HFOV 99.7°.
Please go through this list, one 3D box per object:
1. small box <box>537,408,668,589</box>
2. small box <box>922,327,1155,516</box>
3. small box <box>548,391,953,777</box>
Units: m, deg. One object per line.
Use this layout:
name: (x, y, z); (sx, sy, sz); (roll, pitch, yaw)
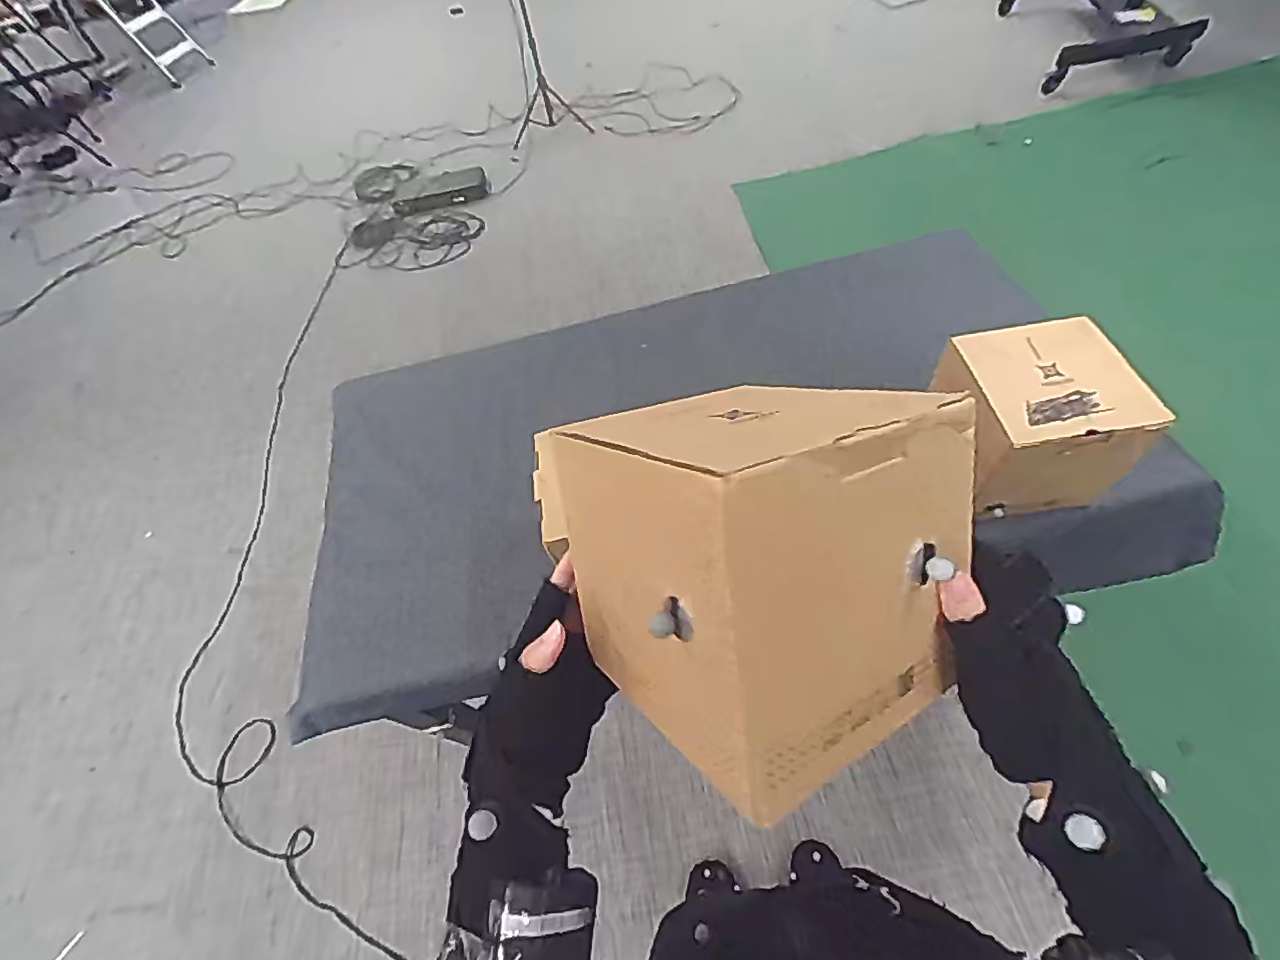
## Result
small box: (-0.025, 0.035, 0.710); (0.179, 0.176, 0.168); (-12, 54, 1)
small box: (0.479, -0.065, 0.697); (0.168, 0.176, 0.179); (-8, 55, 4)
small box: (0.064, 0.044, 0.335); (0.168, 0.176, 0.179); (-16, 16, -30)
